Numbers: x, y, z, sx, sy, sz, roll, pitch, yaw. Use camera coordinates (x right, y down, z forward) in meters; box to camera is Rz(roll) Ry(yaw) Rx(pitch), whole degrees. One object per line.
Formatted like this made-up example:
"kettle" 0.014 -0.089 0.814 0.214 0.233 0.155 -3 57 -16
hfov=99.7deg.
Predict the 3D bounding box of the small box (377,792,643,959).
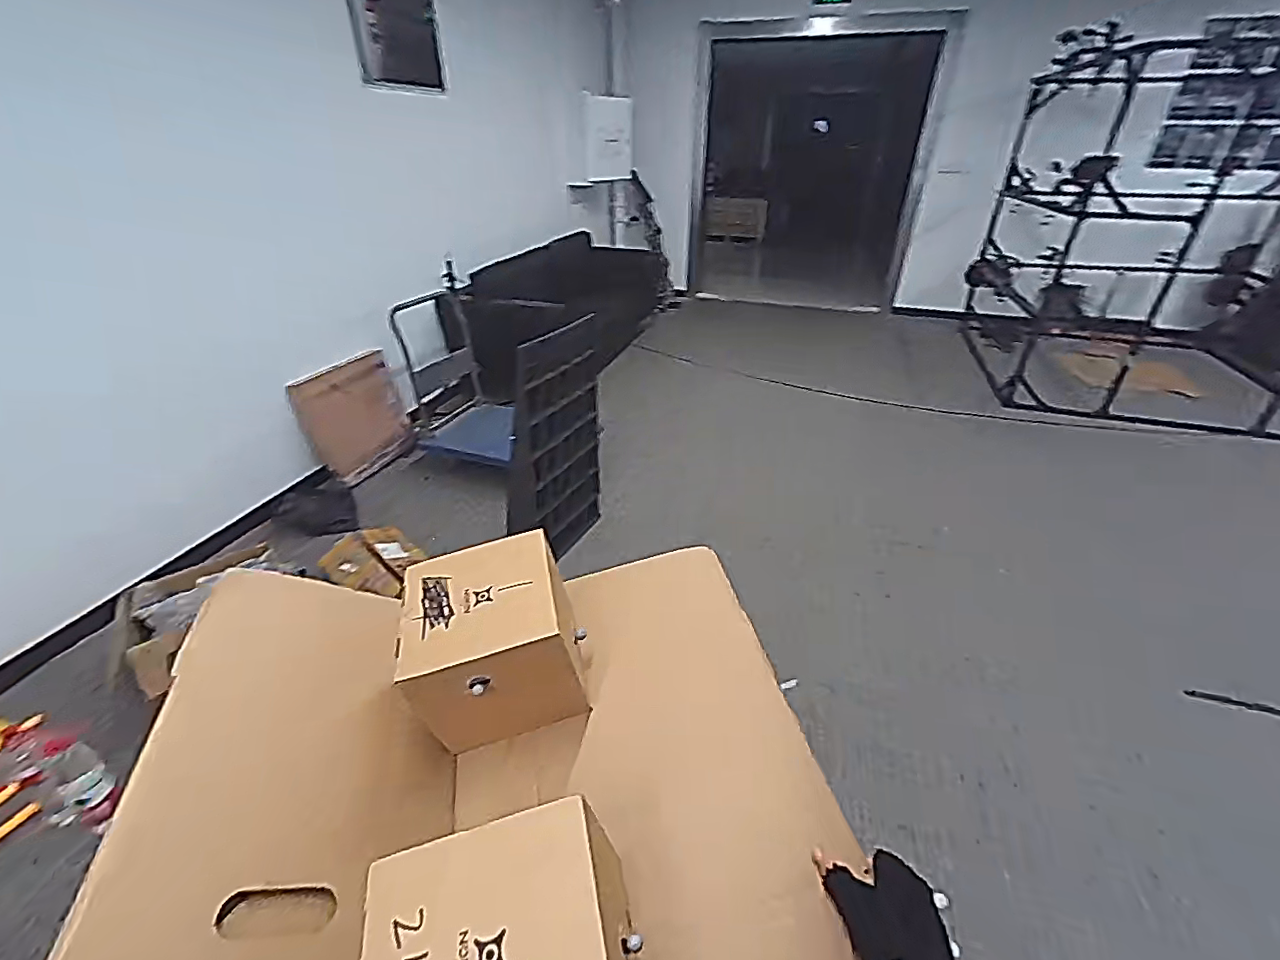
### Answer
"small box" -0.091 0.389 0.437 0.179 0.176 0.168 -15 40 -3
